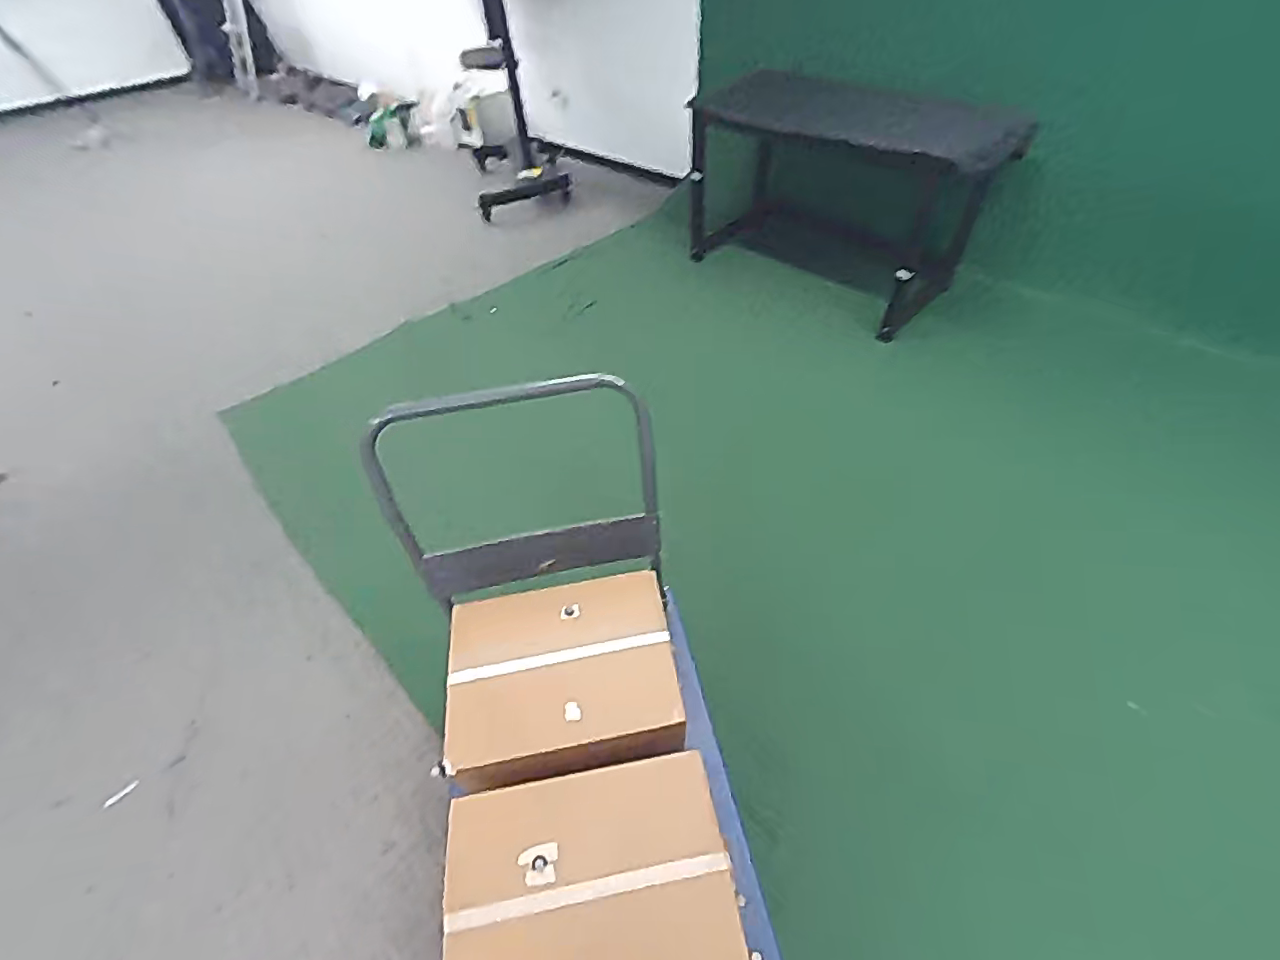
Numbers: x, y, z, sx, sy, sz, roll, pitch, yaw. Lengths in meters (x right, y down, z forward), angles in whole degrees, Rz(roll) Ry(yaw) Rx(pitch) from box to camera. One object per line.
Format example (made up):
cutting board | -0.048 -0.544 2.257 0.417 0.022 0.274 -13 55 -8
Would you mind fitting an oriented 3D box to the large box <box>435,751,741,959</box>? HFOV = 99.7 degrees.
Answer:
large box | -0.074 0.680 0.867 0.408 0.320 0.320 -10 47 -4
